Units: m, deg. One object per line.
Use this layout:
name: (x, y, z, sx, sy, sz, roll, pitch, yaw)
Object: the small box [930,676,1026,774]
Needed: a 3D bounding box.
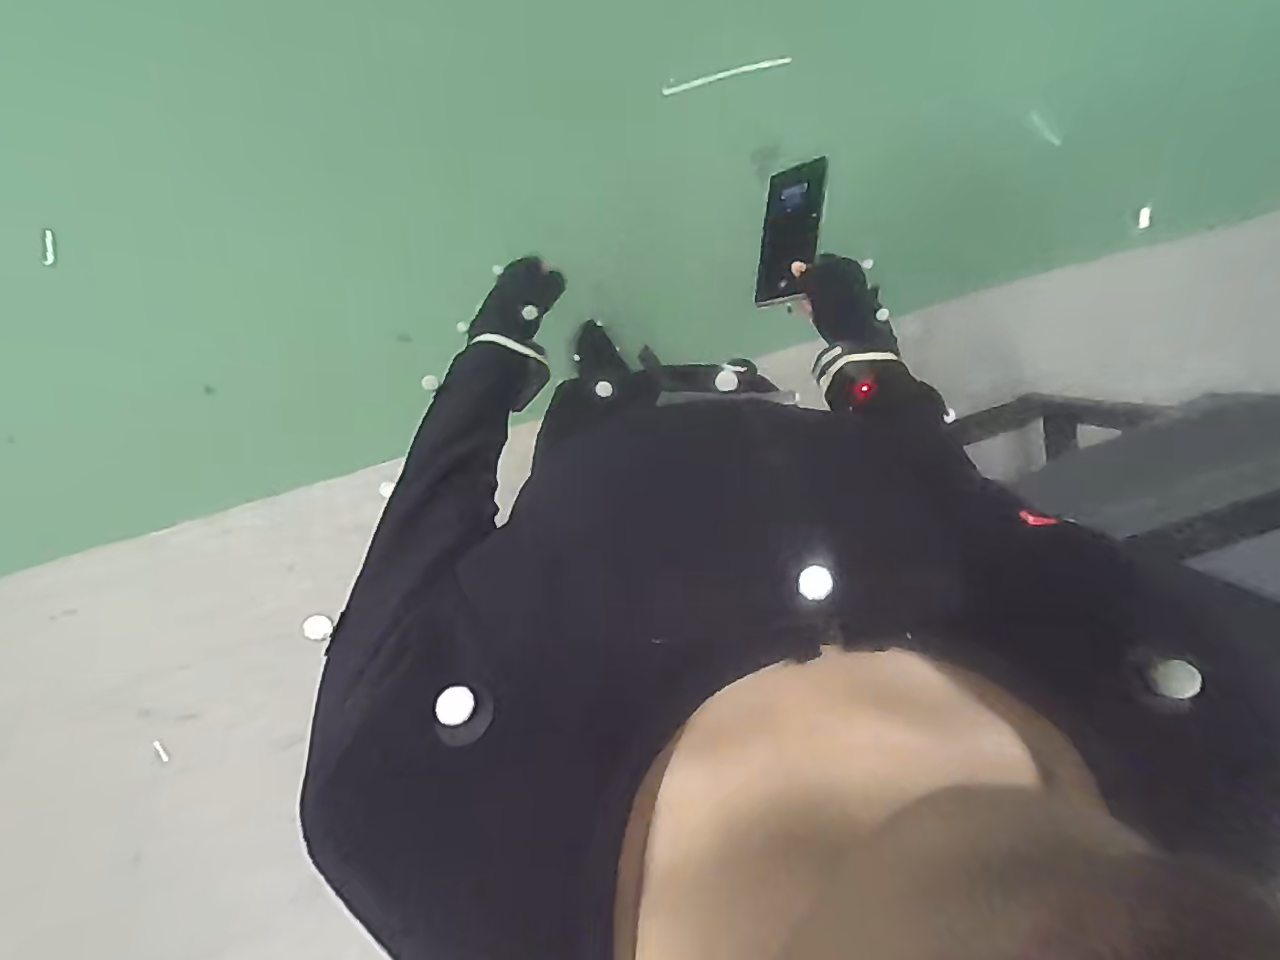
small box: (0.946, 0.687, 1.530, 0.179, 0.176, 0.168, -14, 104, -1)
